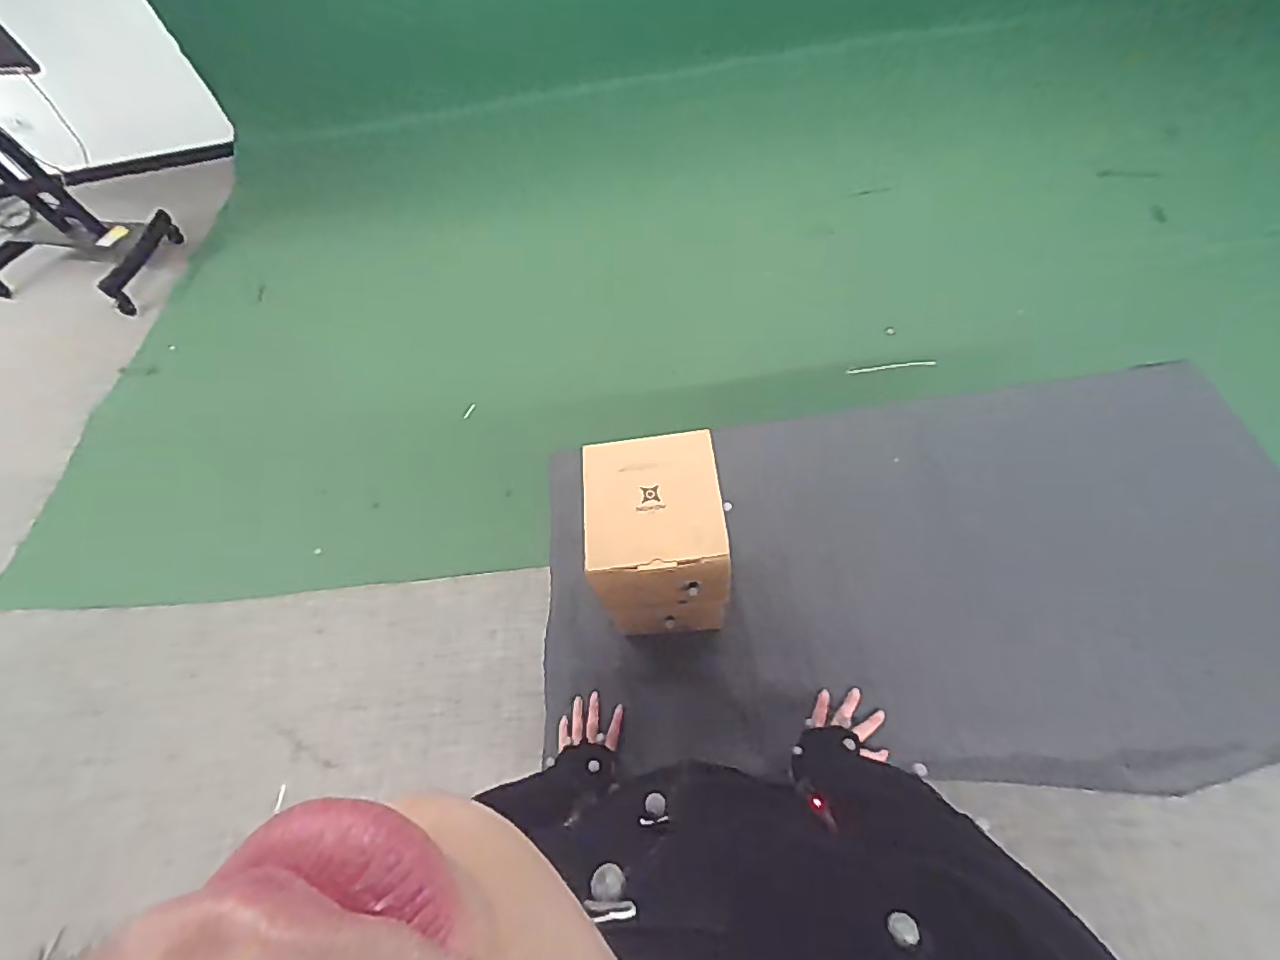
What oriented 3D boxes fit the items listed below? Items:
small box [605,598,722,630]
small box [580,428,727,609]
[{"bbox_3d":[0.040,0.131,0.848,0.168,0.176,0.179,-5,59,5],"label":"small box"},{"bbox_3d":[0.020,0.059,0.703,0.168,0.176,0.179,-7,57,3],"label":"small box"}]
